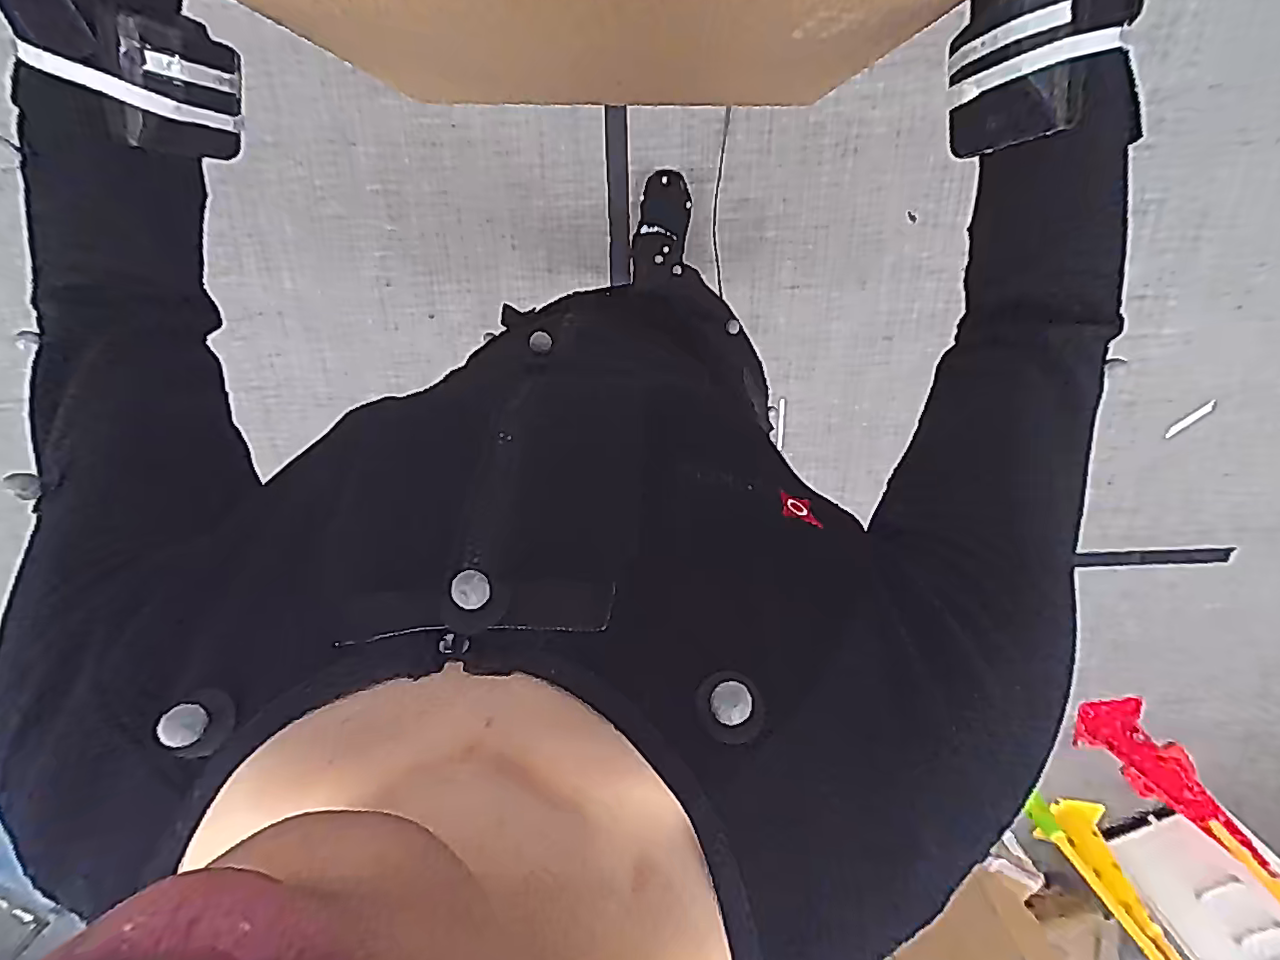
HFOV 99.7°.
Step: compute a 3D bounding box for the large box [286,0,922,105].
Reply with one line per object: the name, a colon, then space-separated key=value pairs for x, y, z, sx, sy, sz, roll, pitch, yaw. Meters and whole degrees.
large box: x=-0.021 y=-0.467 z=0.354 sx=0.408 sy=0.320 sz=0.320 roll=-1 pitch=115 yaw=-1
